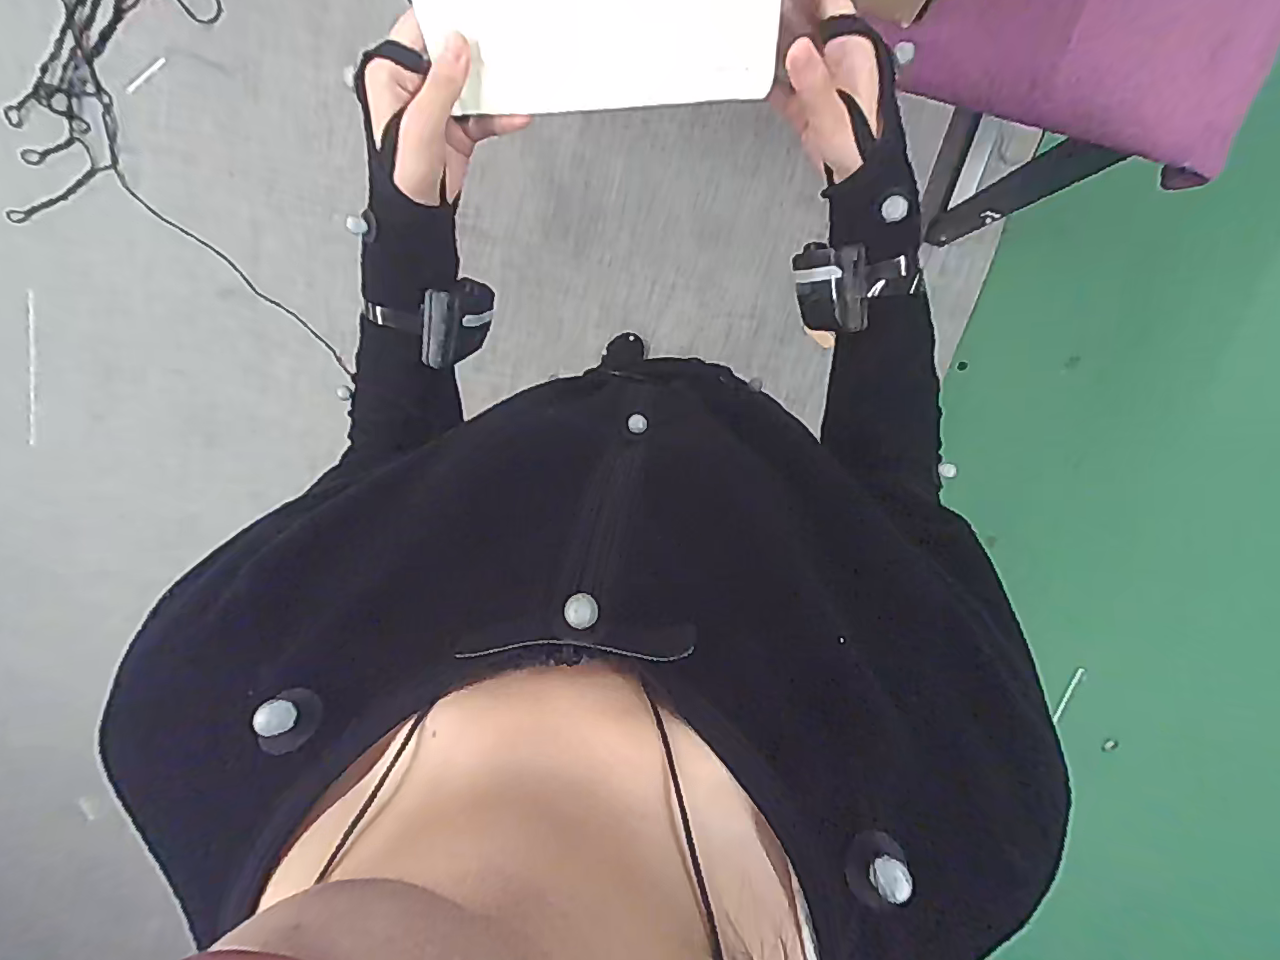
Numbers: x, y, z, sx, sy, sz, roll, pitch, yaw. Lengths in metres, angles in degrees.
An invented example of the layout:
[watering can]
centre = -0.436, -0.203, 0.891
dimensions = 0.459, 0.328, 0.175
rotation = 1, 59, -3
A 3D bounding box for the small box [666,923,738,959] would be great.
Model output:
[small box]
centre = 0.155, 1.268, 1.361
dimensions = 0.179, 0.176, 0.168
rotation = 6, 101, 4

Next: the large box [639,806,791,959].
[large box]
centre = 0.204, 1.220, 1.598
dimensions = 0.408, 0.320, 0.320
rotation = 2, 103, 3
